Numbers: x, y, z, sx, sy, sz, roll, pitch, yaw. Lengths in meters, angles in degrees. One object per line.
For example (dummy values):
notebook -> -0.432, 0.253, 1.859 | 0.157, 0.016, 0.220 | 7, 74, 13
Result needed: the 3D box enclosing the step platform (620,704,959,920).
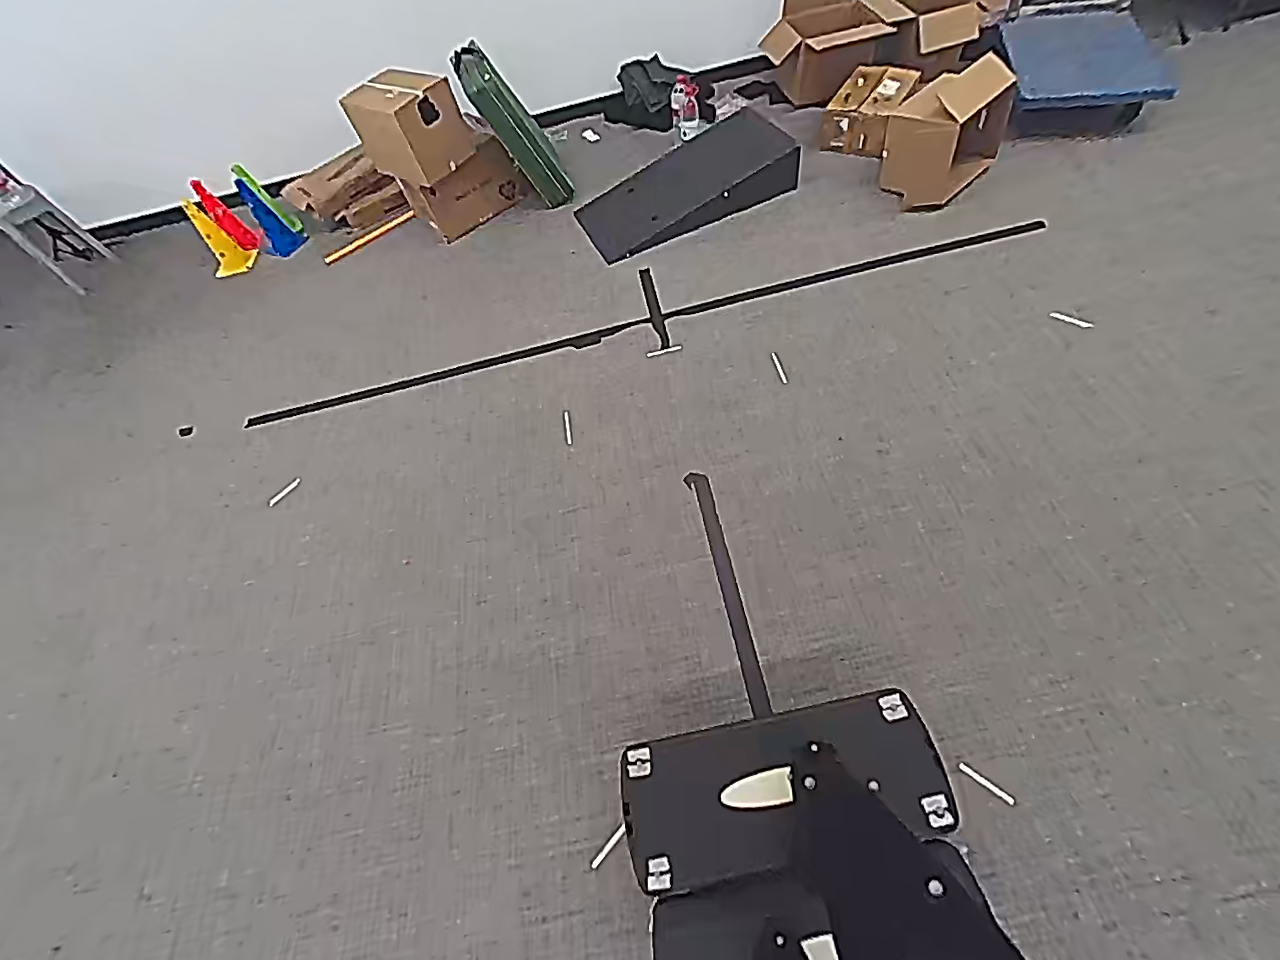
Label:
step platform -> 0.299, 0.710, 1.178 | 0.684, 0.204, 0.286 | -14, 57, 0
